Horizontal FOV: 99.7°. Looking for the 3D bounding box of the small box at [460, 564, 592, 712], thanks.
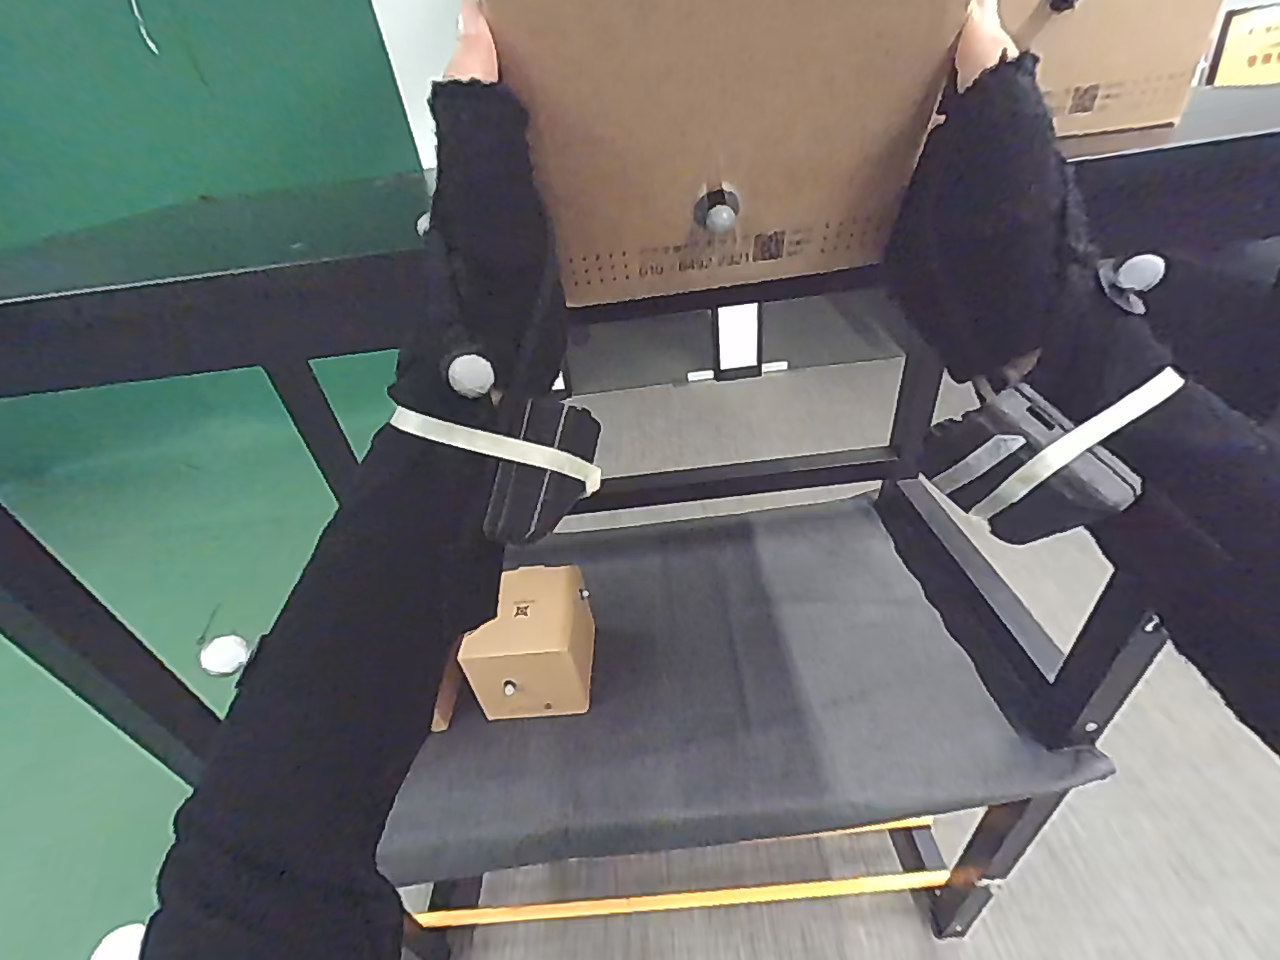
[{"bbox_3d":[-0.176,0.266,0.900,0.168,0.176,0.179,-5,35,3],"label":"small box"}]
